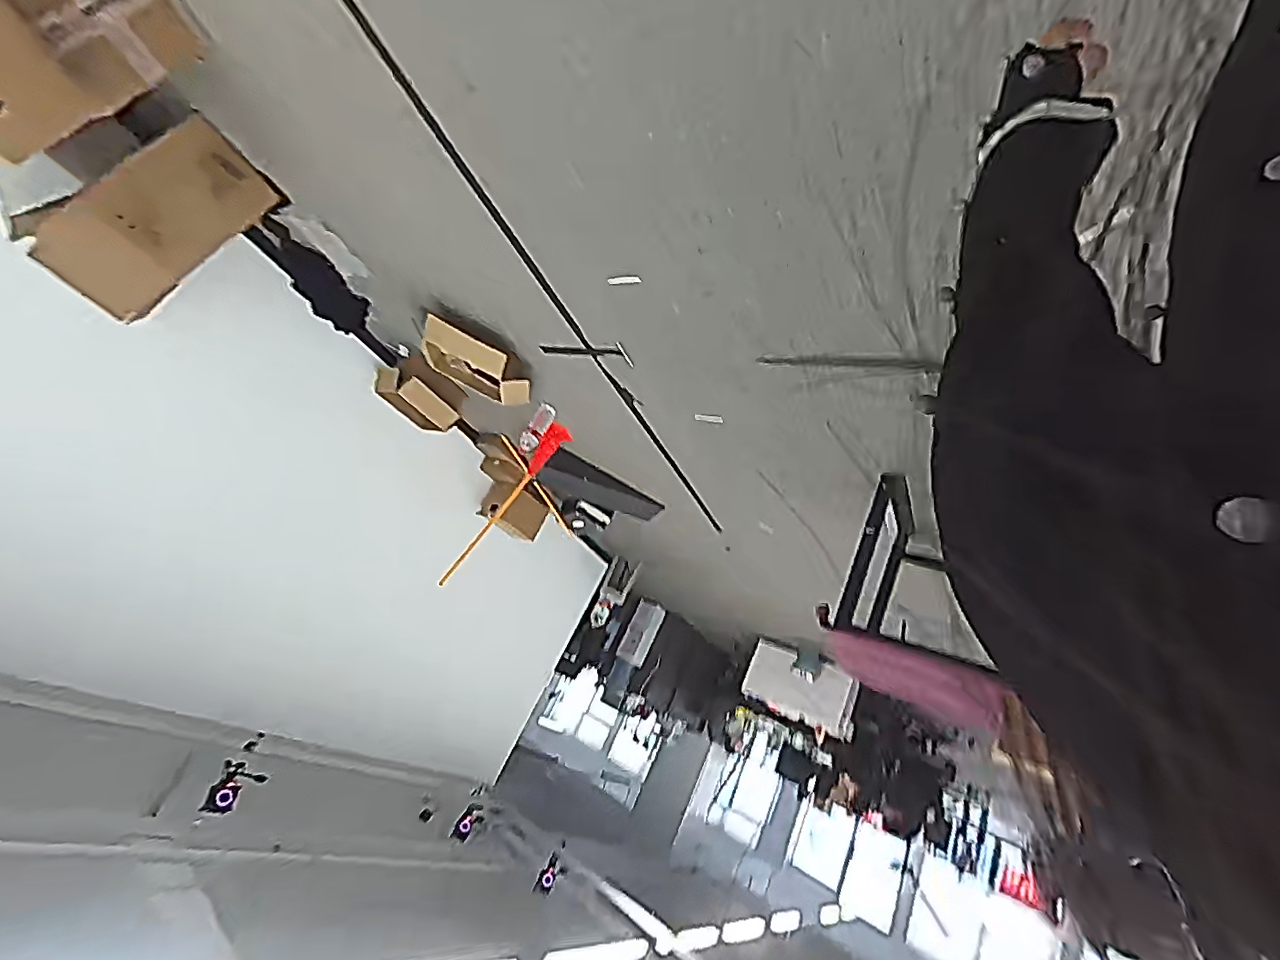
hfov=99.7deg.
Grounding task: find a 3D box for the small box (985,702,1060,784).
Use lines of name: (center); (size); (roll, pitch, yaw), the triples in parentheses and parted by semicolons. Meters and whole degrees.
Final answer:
small box: (1.213, 0.833, 1.717); (0.168, 0.176, 0.179); (11, 153, 33)
